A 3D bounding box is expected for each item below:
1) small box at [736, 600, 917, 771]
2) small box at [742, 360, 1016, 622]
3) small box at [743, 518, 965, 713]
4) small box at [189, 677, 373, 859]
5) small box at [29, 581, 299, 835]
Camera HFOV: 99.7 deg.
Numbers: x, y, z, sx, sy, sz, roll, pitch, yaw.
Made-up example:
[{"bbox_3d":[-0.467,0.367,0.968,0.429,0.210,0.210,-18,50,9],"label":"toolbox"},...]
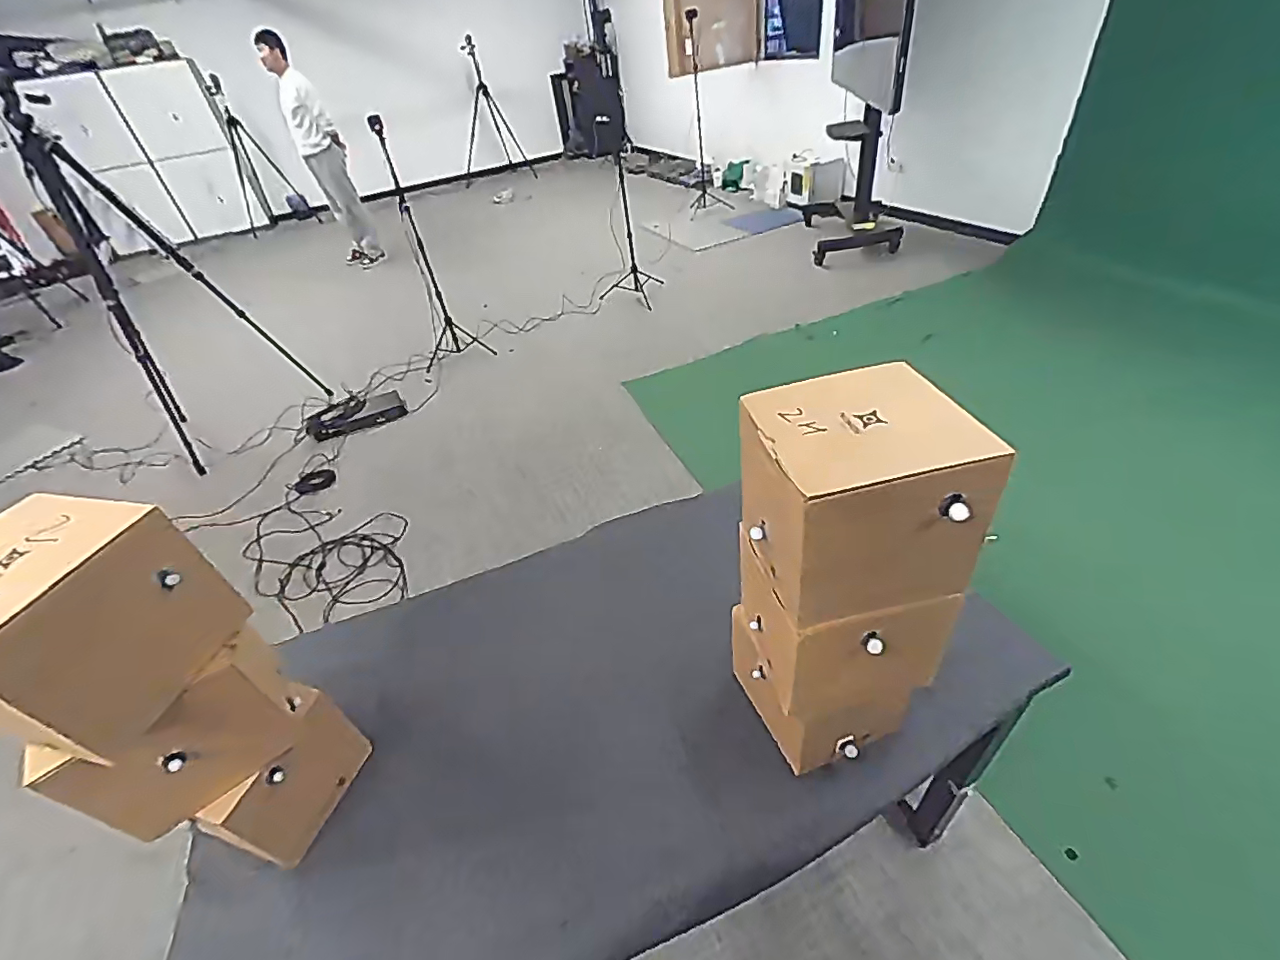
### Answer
[{"bbox_3d":[0.243,0.254,0.739,0.168,0.176,0.179,-20,41,-11],"label":"small box"},{"bbox_3d":[0.207,0.010,0.524,0.179,0.176,0.168,-13,39,-2],"label":"small box"},{"bbox_3d":[0.227,0.138,0.626,0.179,0.176,0.168,-14,39,-3],"label":"small box"},{"bbox_3d":[-0.513,0.382,0.737,0.179,0.176,0.168,7,43,18],"label":"small box"},{"bbox_3d":[-0.531,0.259,0.628,0.179,0.176,0.168,-34,47,-26],"label":"small box"}]
